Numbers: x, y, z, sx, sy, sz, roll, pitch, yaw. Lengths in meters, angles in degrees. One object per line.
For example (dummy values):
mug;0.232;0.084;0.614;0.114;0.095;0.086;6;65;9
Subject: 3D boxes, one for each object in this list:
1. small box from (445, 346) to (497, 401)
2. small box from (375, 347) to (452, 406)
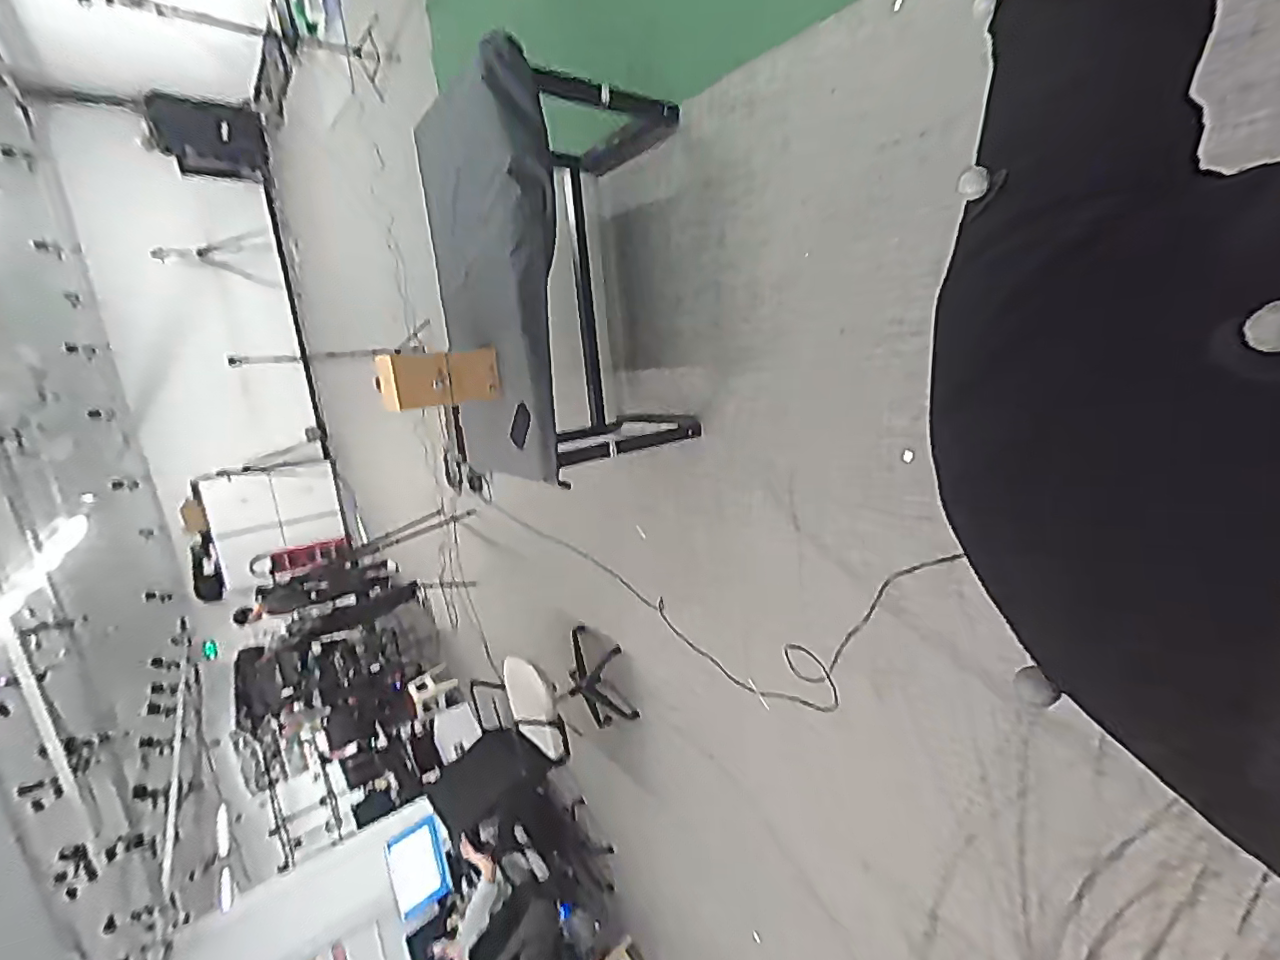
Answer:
small box;-0.584;-0.356;1.794;0.179;0.176;0.168;14;112;51
small box;-0.707;-0.325;1.692;0.179;0.176;0.168;12;111;49
